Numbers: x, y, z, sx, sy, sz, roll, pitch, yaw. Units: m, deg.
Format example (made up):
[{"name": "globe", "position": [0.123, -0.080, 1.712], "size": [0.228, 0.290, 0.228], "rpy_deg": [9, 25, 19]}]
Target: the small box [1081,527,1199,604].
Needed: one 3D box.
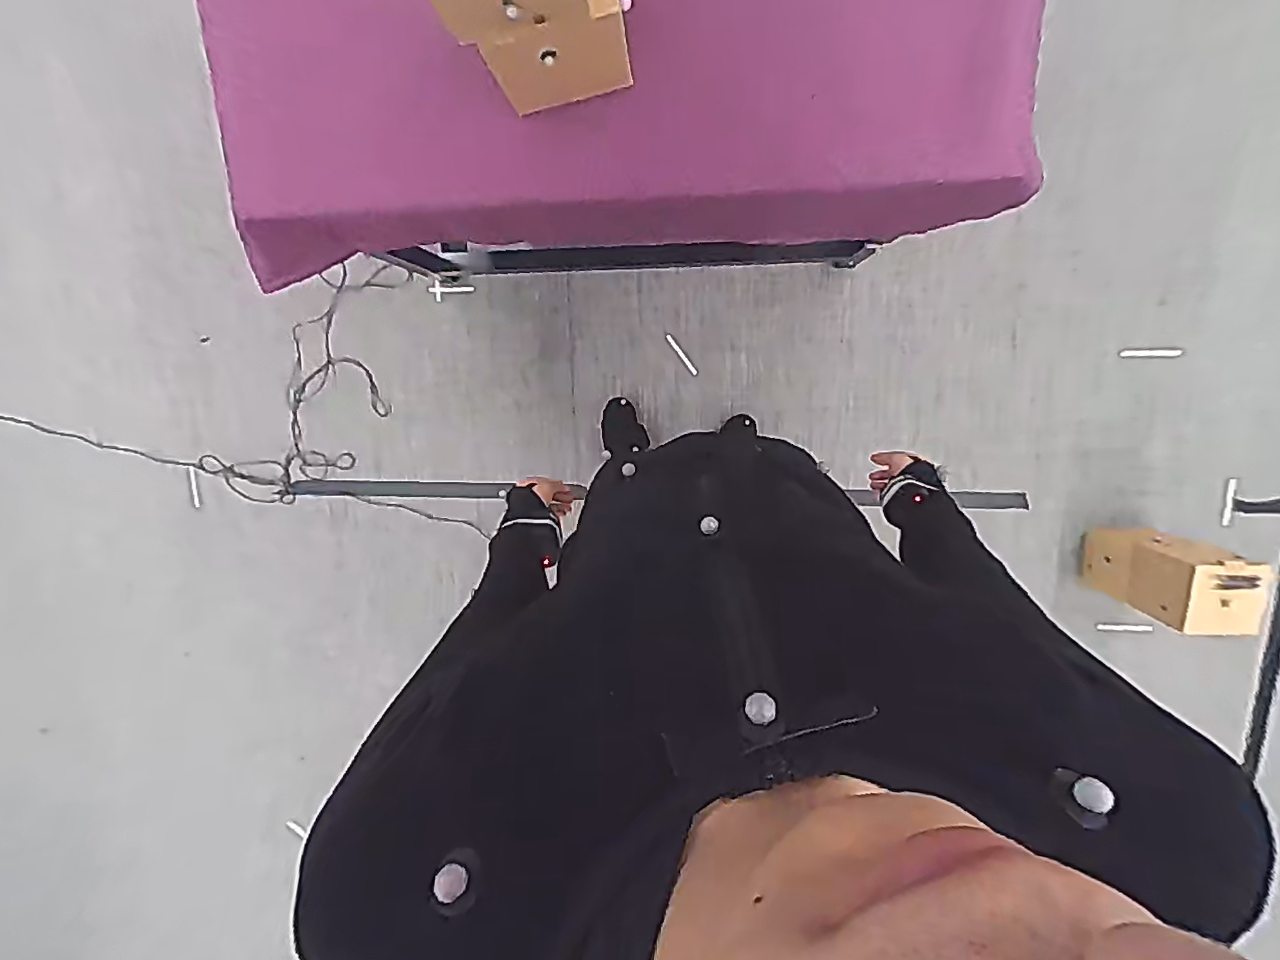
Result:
[{"name": "small box", "position": [1.369, 0.232, 1.493], "size": [0.179, 0.176, 0.168], "rpy_deg": [-4, 100, 5]}]

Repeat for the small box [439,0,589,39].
[{"name": "small box", "position": [-0.152, -0.599, 0.541], "size": [0.168, 0.176, 0.179], "rpy_deg": [-5, 100, 6]}]

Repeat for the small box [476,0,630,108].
[{"name": "small box", "position": [-0.118, -0.623, 0.702], "size": [0.179, 0.176, 0.168], "rpy_deg": [-11, 100, 6]}]
